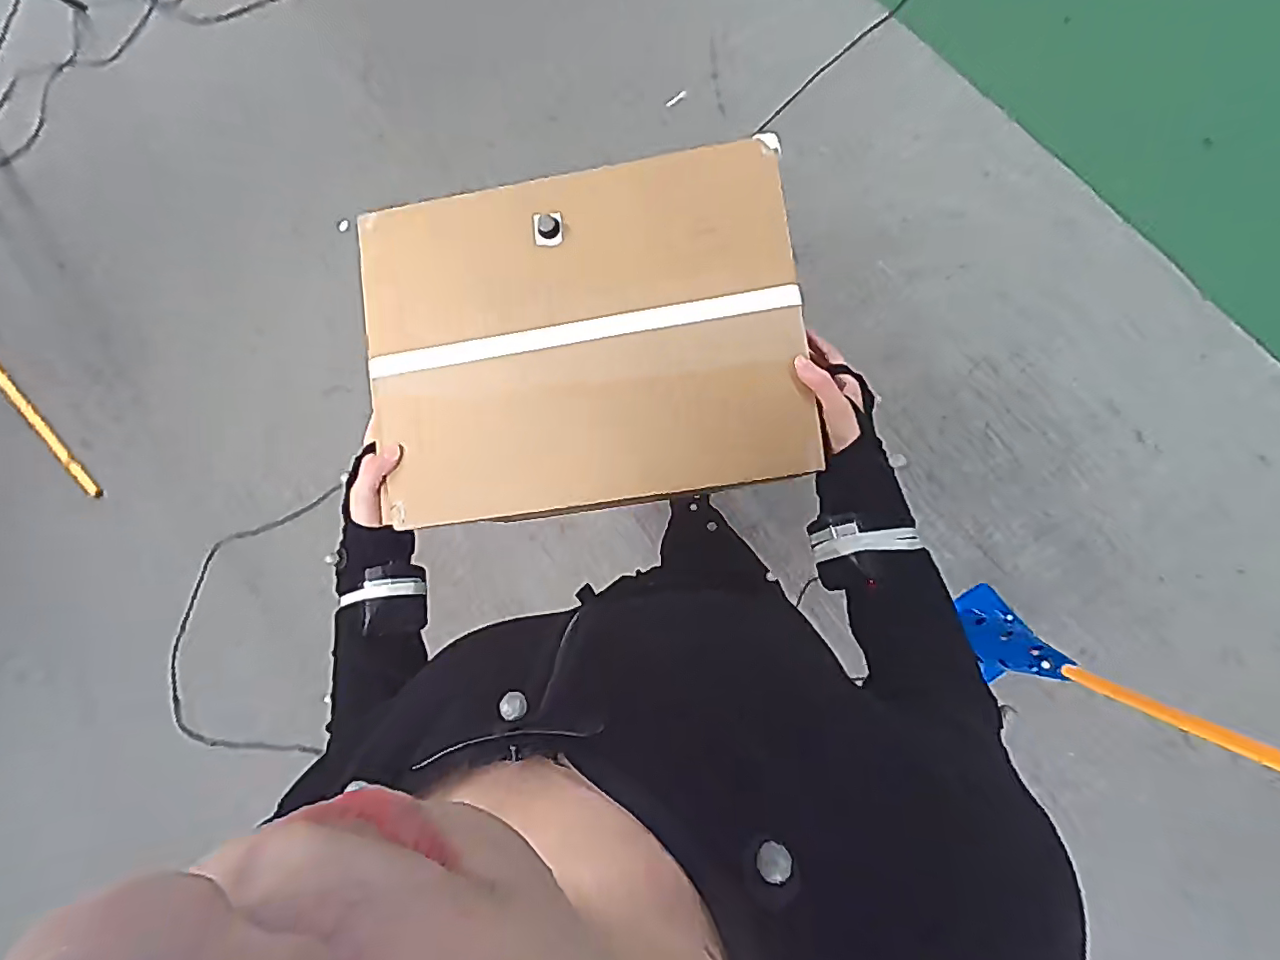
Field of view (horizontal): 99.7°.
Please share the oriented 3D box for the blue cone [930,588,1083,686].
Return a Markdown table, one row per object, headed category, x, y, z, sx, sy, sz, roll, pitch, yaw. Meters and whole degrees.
| category | x | y | z | sx | sy | sz | roll | pitch | yaw |
| --- | --- | --- | --- | --- | --- | --- | --- | --- | --- |
| blue cone | 0.826 | 0.371 | 1.173 | 0.192 | 0.380 | 0.193 | -41 | 81 | 3 |
